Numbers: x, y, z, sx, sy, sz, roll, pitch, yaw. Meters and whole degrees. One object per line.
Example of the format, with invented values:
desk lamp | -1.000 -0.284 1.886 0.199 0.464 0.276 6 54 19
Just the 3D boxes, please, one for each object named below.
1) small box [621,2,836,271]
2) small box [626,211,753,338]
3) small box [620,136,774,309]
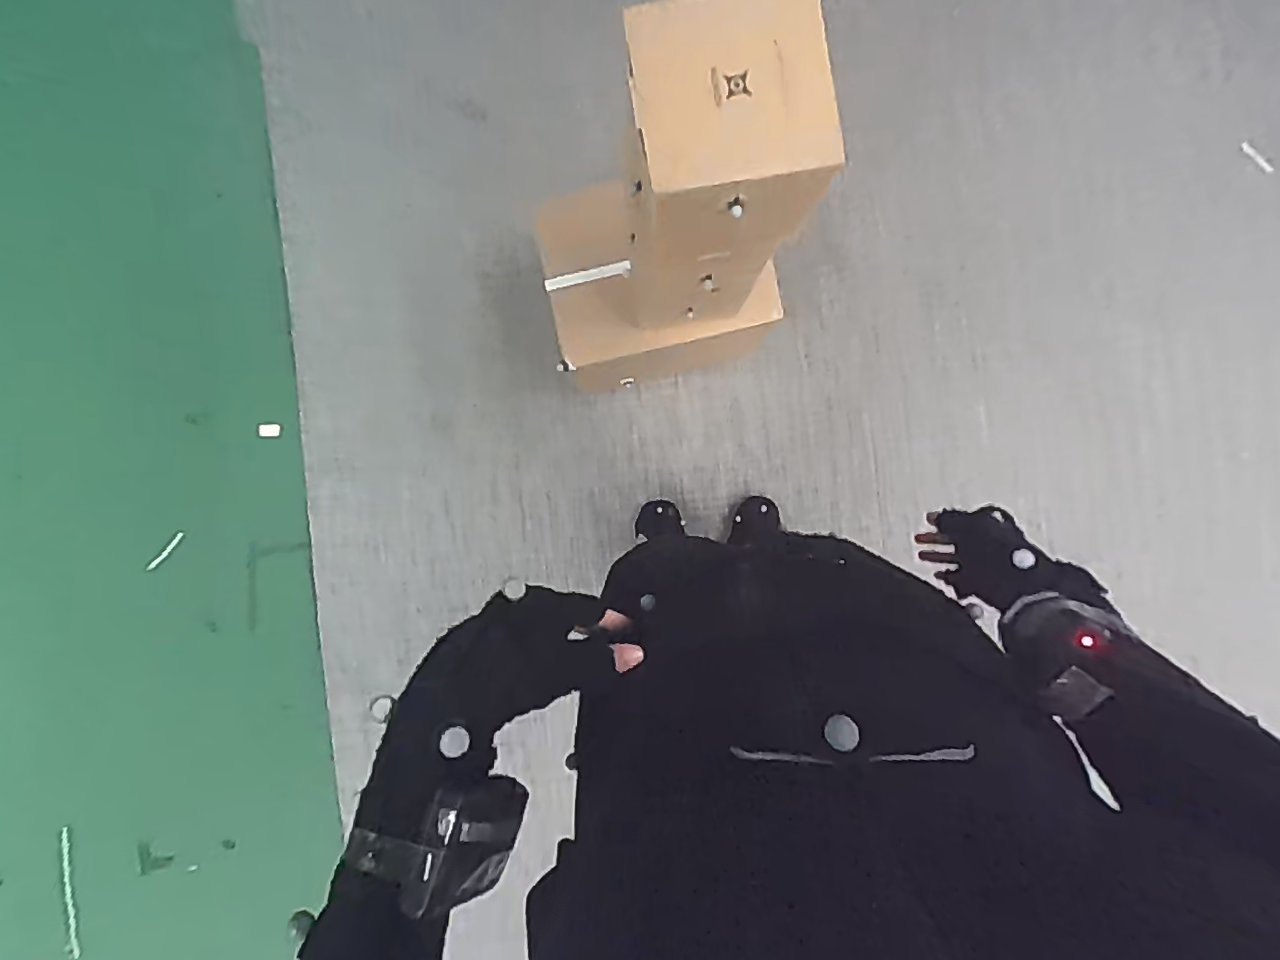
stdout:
small box | 0.081 -0.339 0.570 0.179 0.176 0.168 -10 91 0
small box | 0.075 -0.346 0.896 0.179 0.176 0.168 -9 90 1
small box | 0.072 -0.346 0.733 0.168 0.176 0.179 -11 90 0
